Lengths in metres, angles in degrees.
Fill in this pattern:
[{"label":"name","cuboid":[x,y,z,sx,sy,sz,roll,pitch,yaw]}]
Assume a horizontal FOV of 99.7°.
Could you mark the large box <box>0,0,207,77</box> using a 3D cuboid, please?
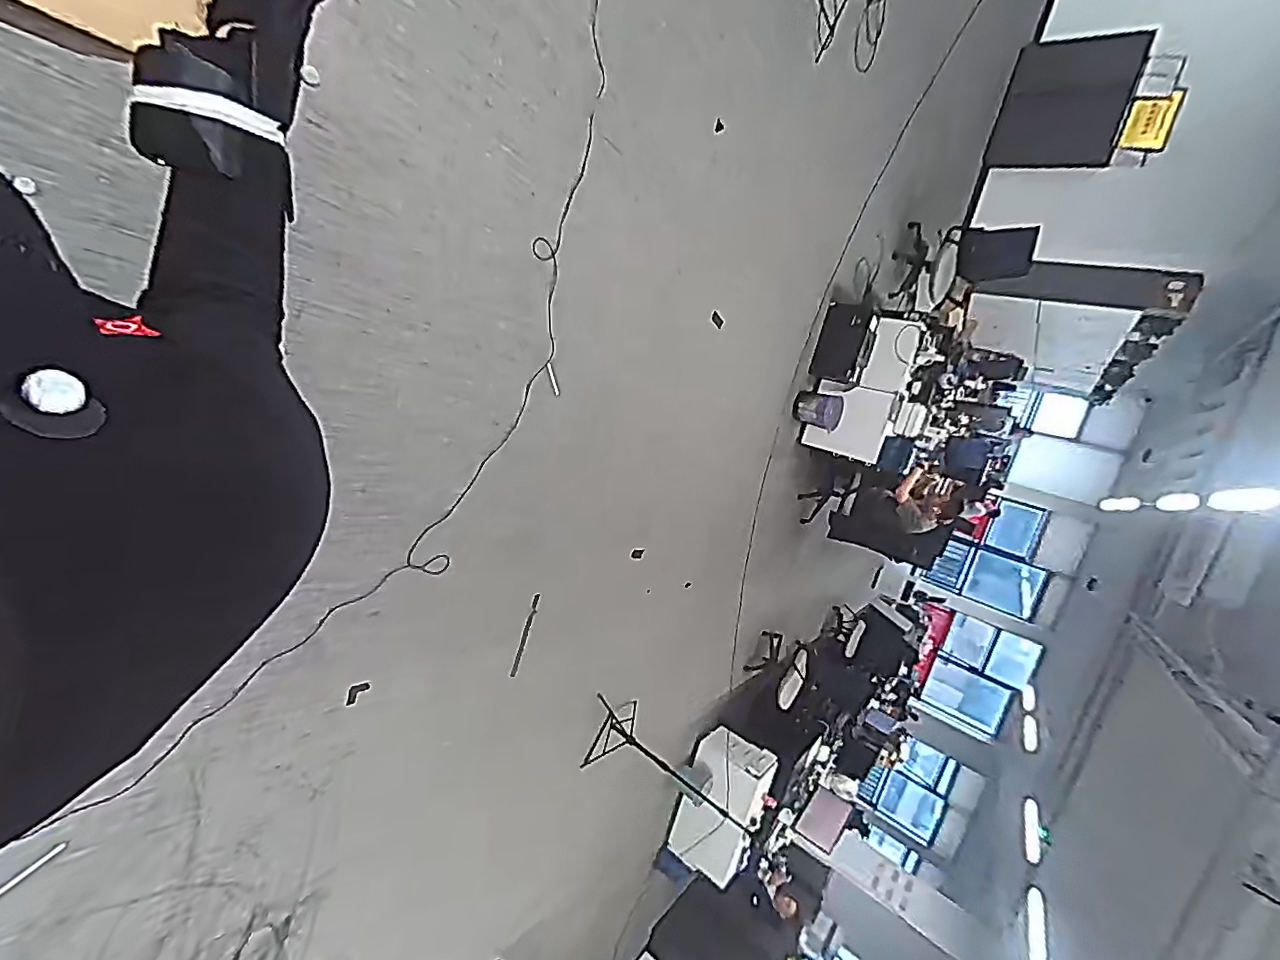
[{"label":"large box","cuboid":[-0.480,-0.463,0.235,0.408,0.320,0.320,-7,123,-57]}]
